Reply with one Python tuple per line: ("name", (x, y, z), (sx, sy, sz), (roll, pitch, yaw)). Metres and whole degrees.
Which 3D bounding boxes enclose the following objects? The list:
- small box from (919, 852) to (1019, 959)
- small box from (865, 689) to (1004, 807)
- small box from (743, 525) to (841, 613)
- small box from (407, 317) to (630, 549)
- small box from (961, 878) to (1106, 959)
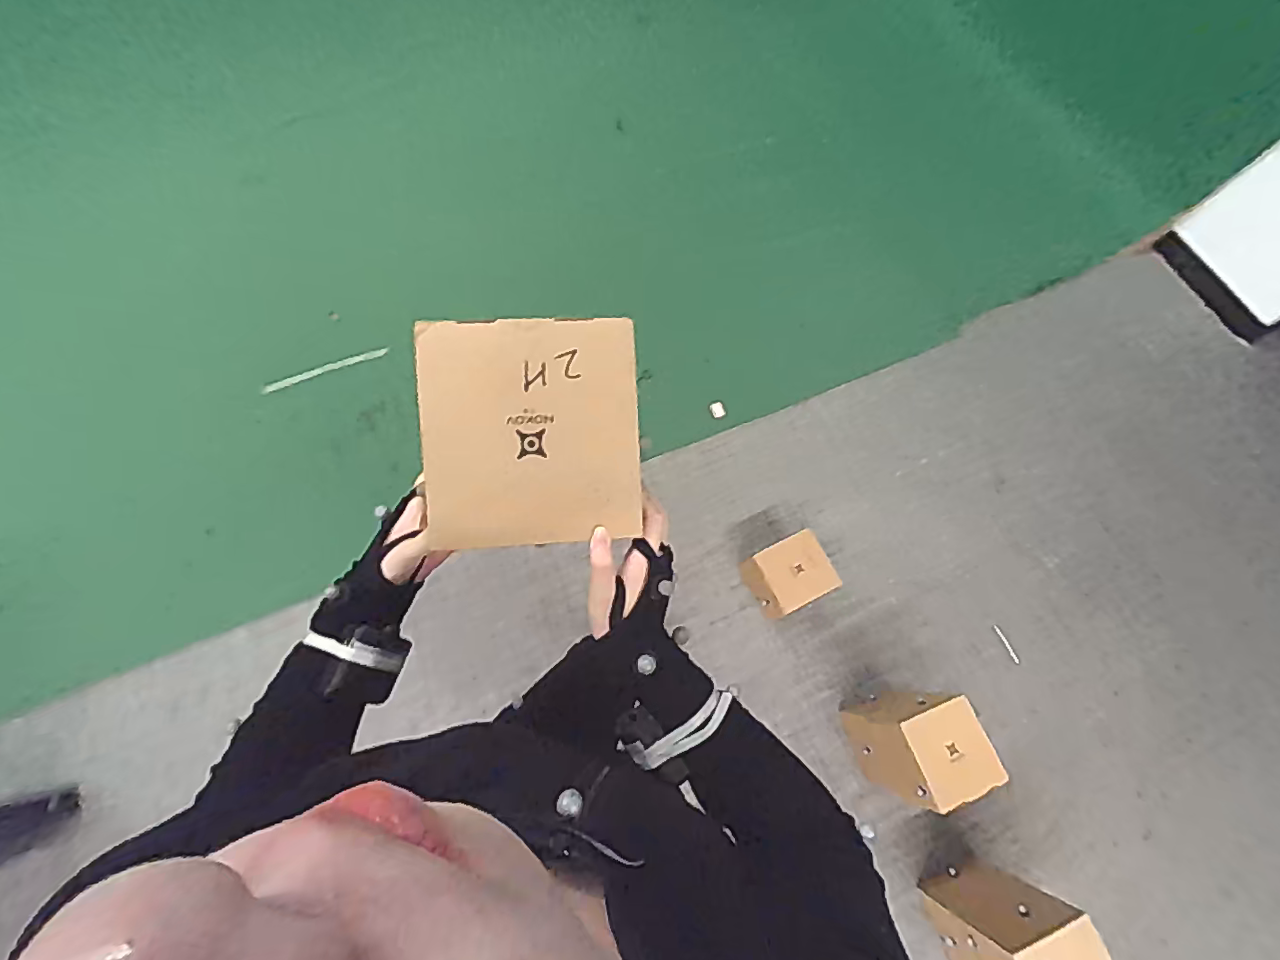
("small box", (0.764, 0.981, 1.214), (0.179, 0.176, 0.168), (-20, 74, -9))
("small box", (0.623, 0.568, 1.171), (0.168, 0.176, 0.179), (-18, 73, -10))
("small box", (0.392, 0.243, 1.439), (0.179, 0.176, 0.168), (-23, 75, -12))
("small box", (-0.099, -0.042, 0.495), (0.168, 0.176, 0.179), (-3, 93, -7))
("small box", (0.770, 0.929, 1.057), (0.179, 0.176, 0.168), (-18, 74, -10))
